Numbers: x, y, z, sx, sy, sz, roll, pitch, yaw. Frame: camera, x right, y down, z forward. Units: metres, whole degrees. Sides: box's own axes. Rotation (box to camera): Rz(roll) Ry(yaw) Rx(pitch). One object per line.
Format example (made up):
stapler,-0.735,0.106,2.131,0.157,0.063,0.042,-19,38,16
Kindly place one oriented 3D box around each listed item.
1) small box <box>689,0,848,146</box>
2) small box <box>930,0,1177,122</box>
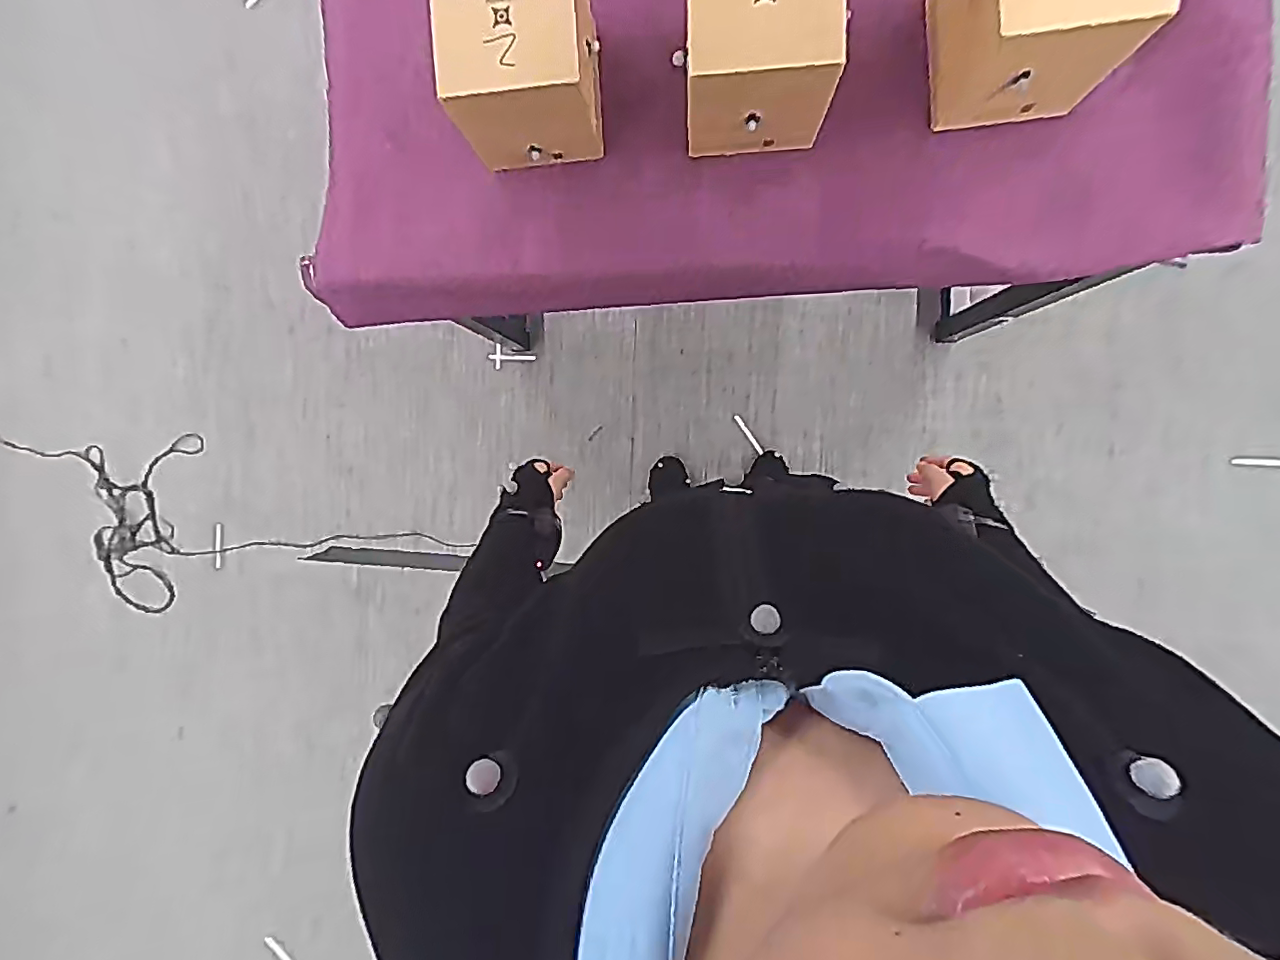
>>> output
small box,0.144,-0.528,0.649,0.168,0.176,0.179,-1,93,5
small box,0.452,-0.543,0.617,0.168,0.176,0.179,-3,92,7
